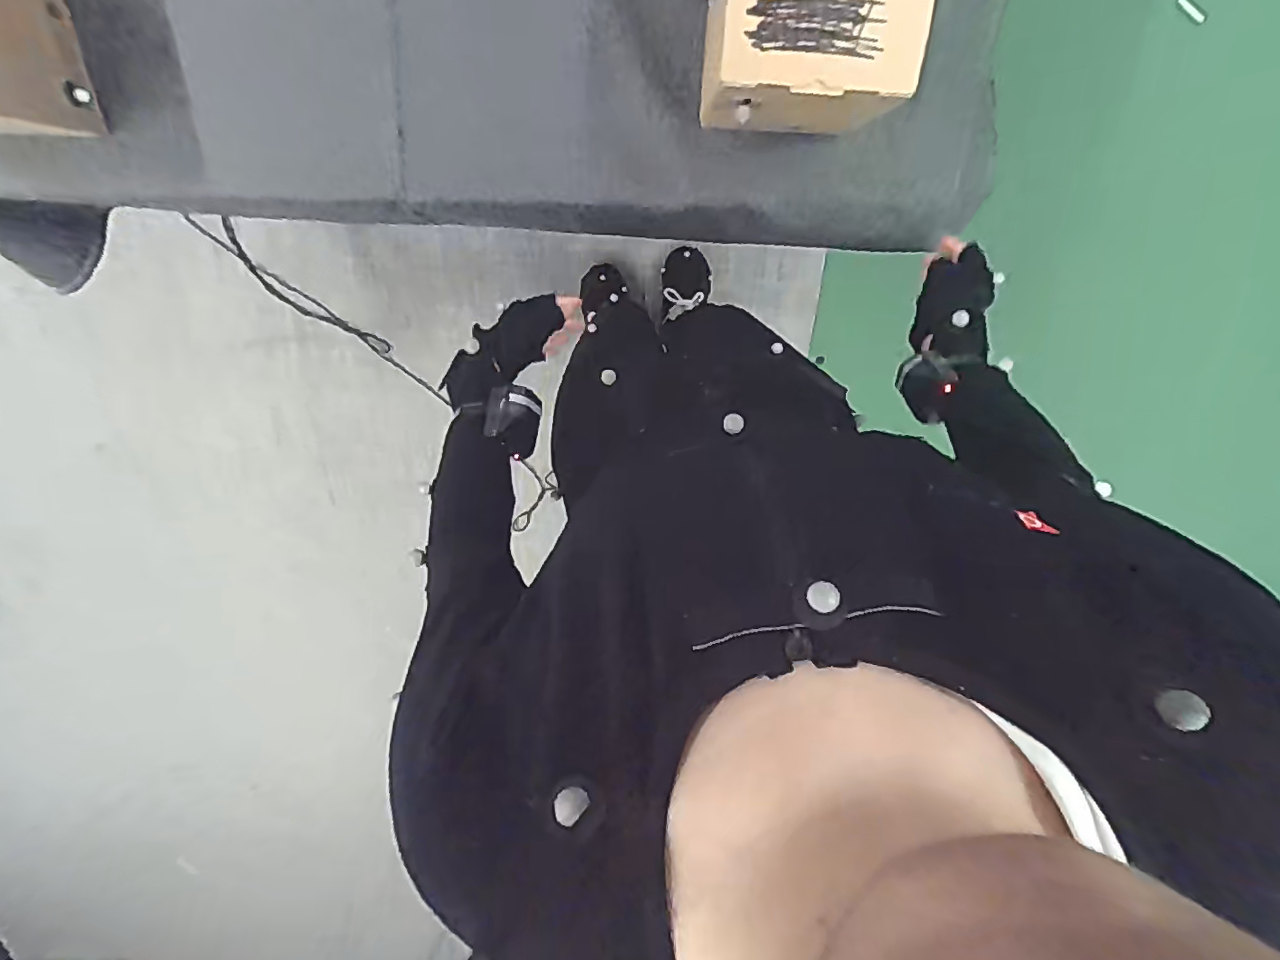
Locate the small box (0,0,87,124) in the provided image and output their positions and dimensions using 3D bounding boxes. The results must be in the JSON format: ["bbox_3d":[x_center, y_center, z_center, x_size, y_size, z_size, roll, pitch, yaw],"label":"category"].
[{"bbox_3d":[-0.660,-0.428,0.478,0.179,0.176,0.168,1,115,-1],"label":"small box"}]
